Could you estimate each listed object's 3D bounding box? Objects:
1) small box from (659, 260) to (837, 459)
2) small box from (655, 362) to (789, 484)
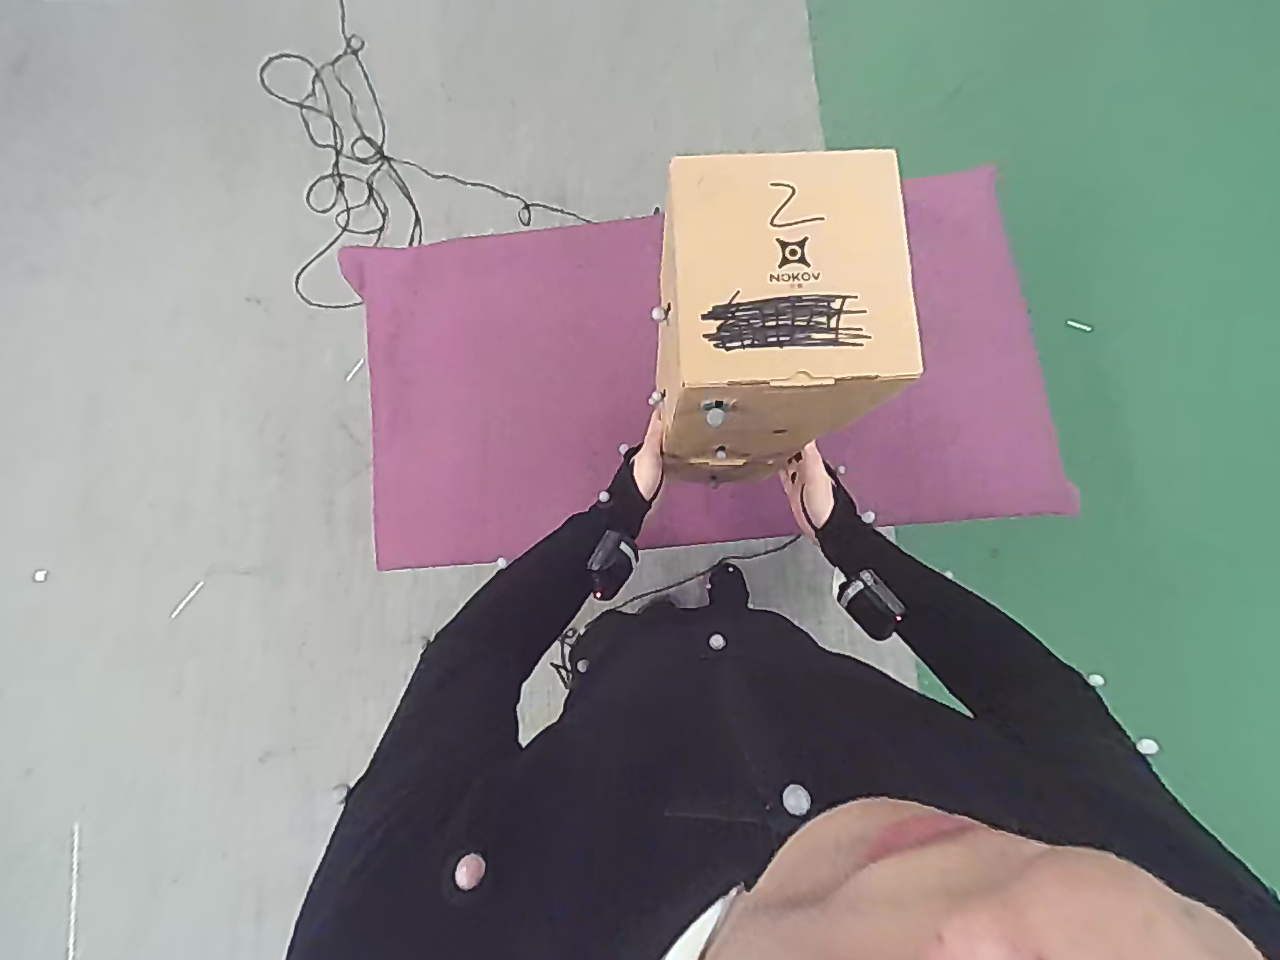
[{"bbox_3d":[0.108,-0.125,0.614,0.168,0.176,0.179,0,82,-1],"label":"small box"},{"bbox_3d":[0.106,-0.093,0.774,0.168,0.176,0.179,-1,82,0],"label":"small box"}]
